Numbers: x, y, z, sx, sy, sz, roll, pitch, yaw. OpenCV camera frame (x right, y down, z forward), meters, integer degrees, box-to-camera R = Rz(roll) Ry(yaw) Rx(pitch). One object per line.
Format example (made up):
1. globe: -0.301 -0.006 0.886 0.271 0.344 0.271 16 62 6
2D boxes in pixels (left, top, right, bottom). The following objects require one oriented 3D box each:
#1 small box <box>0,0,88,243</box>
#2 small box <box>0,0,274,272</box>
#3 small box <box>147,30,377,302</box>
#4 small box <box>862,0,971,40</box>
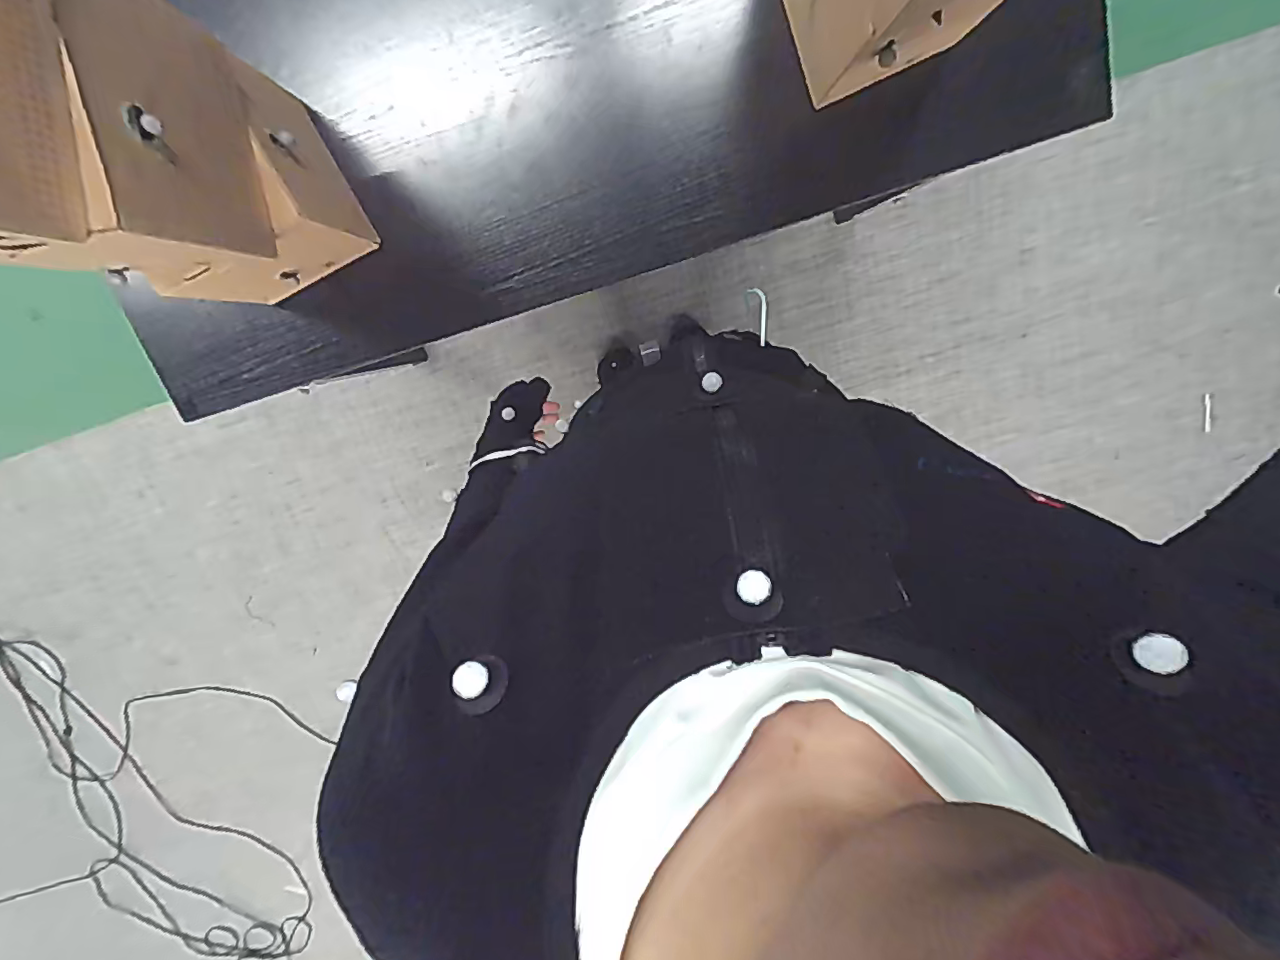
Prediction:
1. small box: -0.426 -0.219 0.254 0.168 0.176 0.179 6 107 -3
2. small box: -0.424 -0.259 0.414 0.168 0.176 0.179 -5 106 0
3. small box: -0.423 -0.304 0.572 0.168 0.176 0.179 -25 105 6
4. small box: 0.240 -0.460 0.360 0.168 0.176 0.179 -24 104 7
